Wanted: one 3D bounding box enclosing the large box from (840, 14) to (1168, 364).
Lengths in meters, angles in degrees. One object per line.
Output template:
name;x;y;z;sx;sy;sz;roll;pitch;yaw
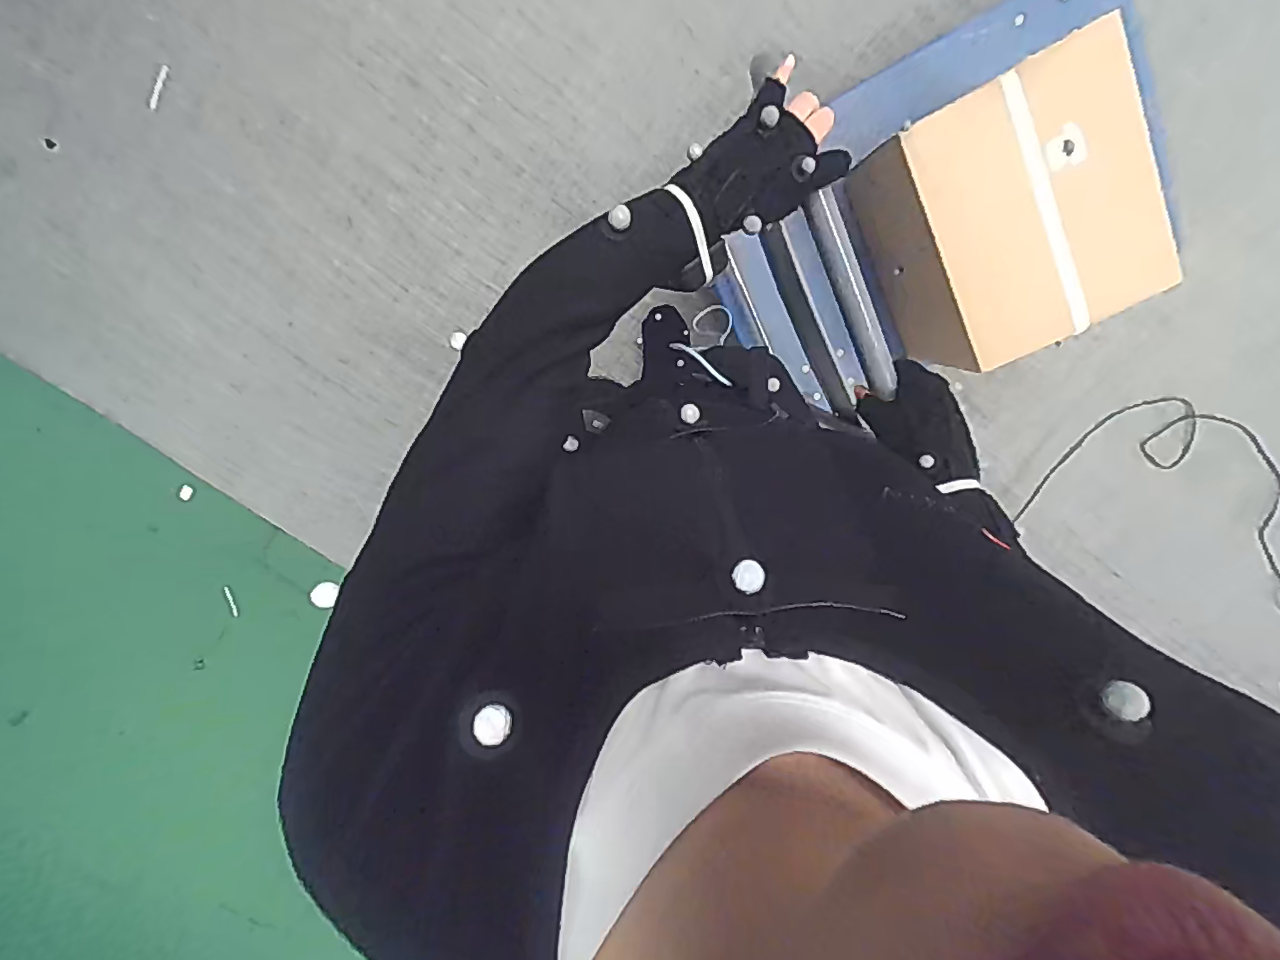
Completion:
large box;0.613;-0.467;0.974;0.320;0.320;0.408;-25;103;12
